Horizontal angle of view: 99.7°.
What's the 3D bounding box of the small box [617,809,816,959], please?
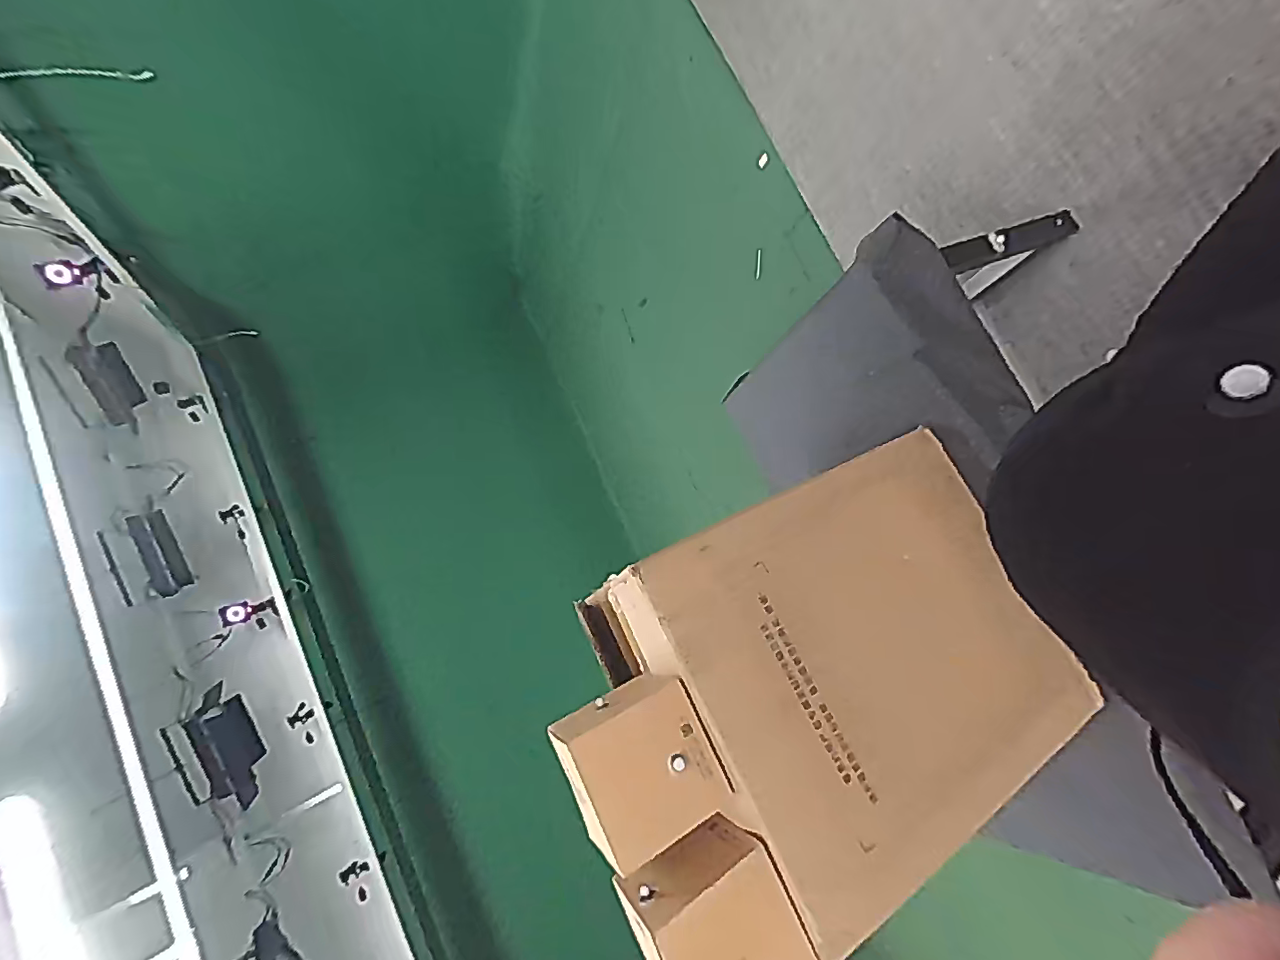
[{"bbox_3d":[0.100,0.579,0.703,0.179,0.176,0.168,64,155,7],"label":"small box"}]
